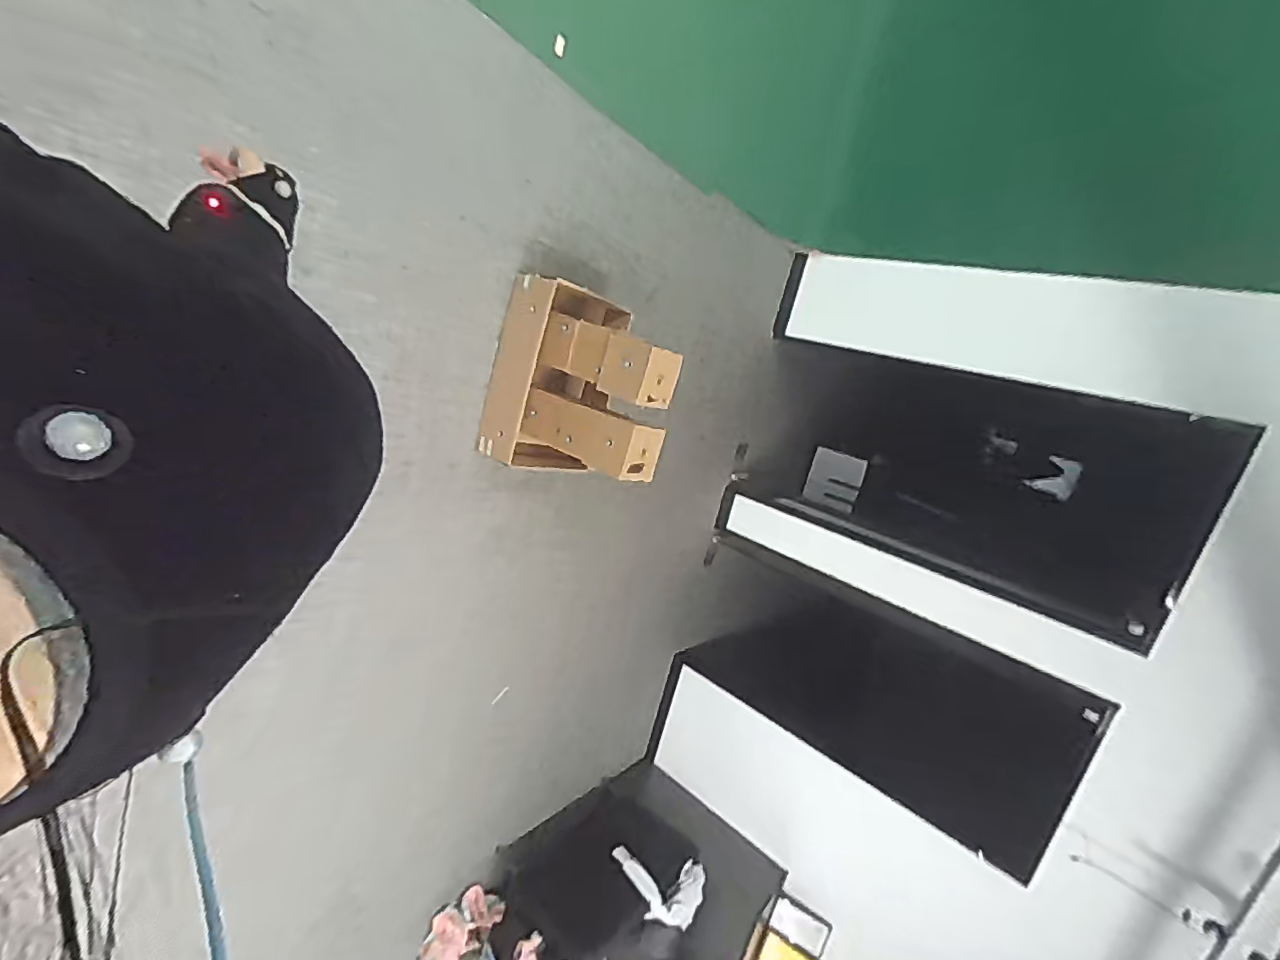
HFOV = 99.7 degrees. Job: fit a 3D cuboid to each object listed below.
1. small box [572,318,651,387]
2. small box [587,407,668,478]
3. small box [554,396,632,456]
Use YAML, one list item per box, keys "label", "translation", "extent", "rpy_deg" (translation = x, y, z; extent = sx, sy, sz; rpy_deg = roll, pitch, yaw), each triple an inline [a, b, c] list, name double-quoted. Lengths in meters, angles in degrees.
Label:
- label: "small box"
  translation: [-0.096, -0.414, 1.752]
  extent: [0.168, 0.176, 0.179]
  rpy_deg: [-1, 112, -51]
- label: "small box"
  translation: [-0.043, -0.117, 1.703]
  extent: [0.168, 0.176, 0.179]
  rpy_deg: [4, 105, -52]
- label: "small box"
  translation: [-0.161, -0.175, 1.803]
  extent: [0.179, 0.176, 0.168]
  rpy_deg: [3, 106, -52]
